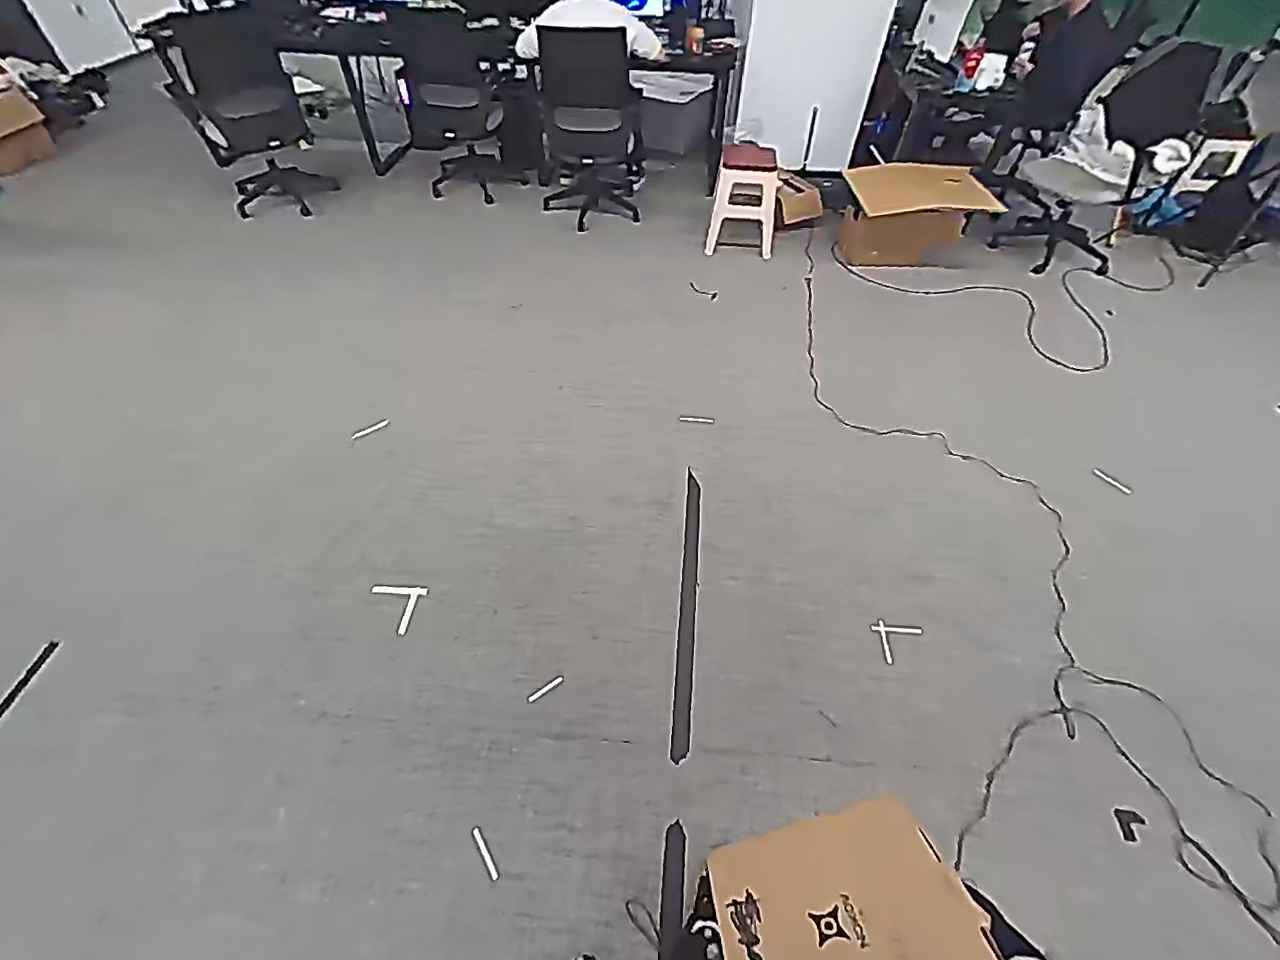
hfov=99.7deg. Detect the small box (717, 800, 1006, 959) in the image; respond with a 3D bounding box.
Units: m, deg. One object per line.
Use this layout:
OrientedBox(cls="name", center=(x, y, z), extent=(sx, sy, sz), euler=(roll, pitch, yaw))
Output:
OrientedBox(cls="small box", center=(0.174, 0.396, 0.414), extent=(0.179, 0.176, 0.168), euler=(-17, 14, 2))
